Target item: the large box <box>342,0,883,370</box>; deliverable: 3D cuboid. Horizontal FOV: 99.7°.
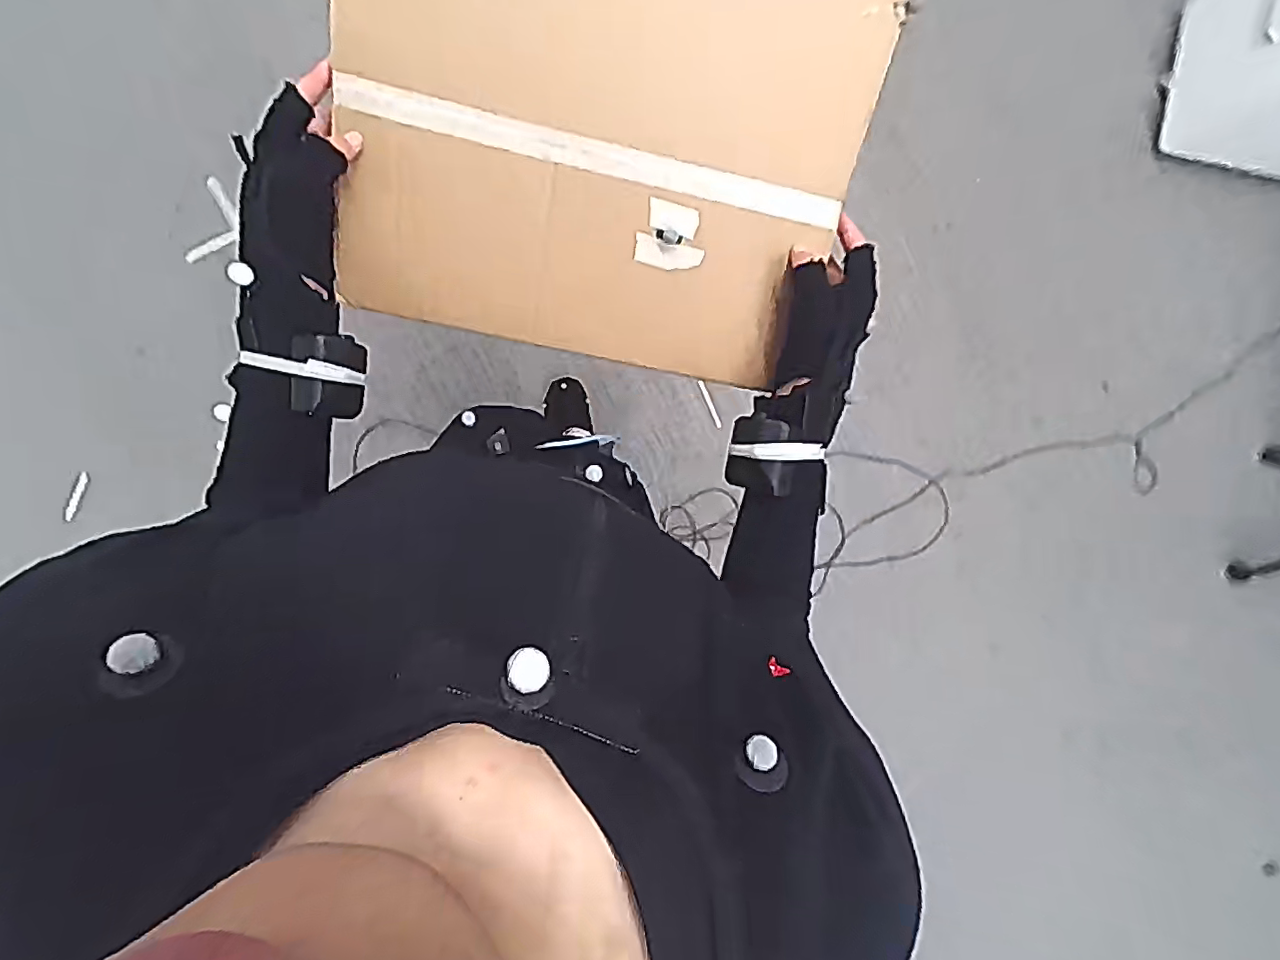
[{"bbox_3d":[-0.045,-0.329,0.576,0.408,0.320,0.320,9,113,-8],"label":"large box"}]
